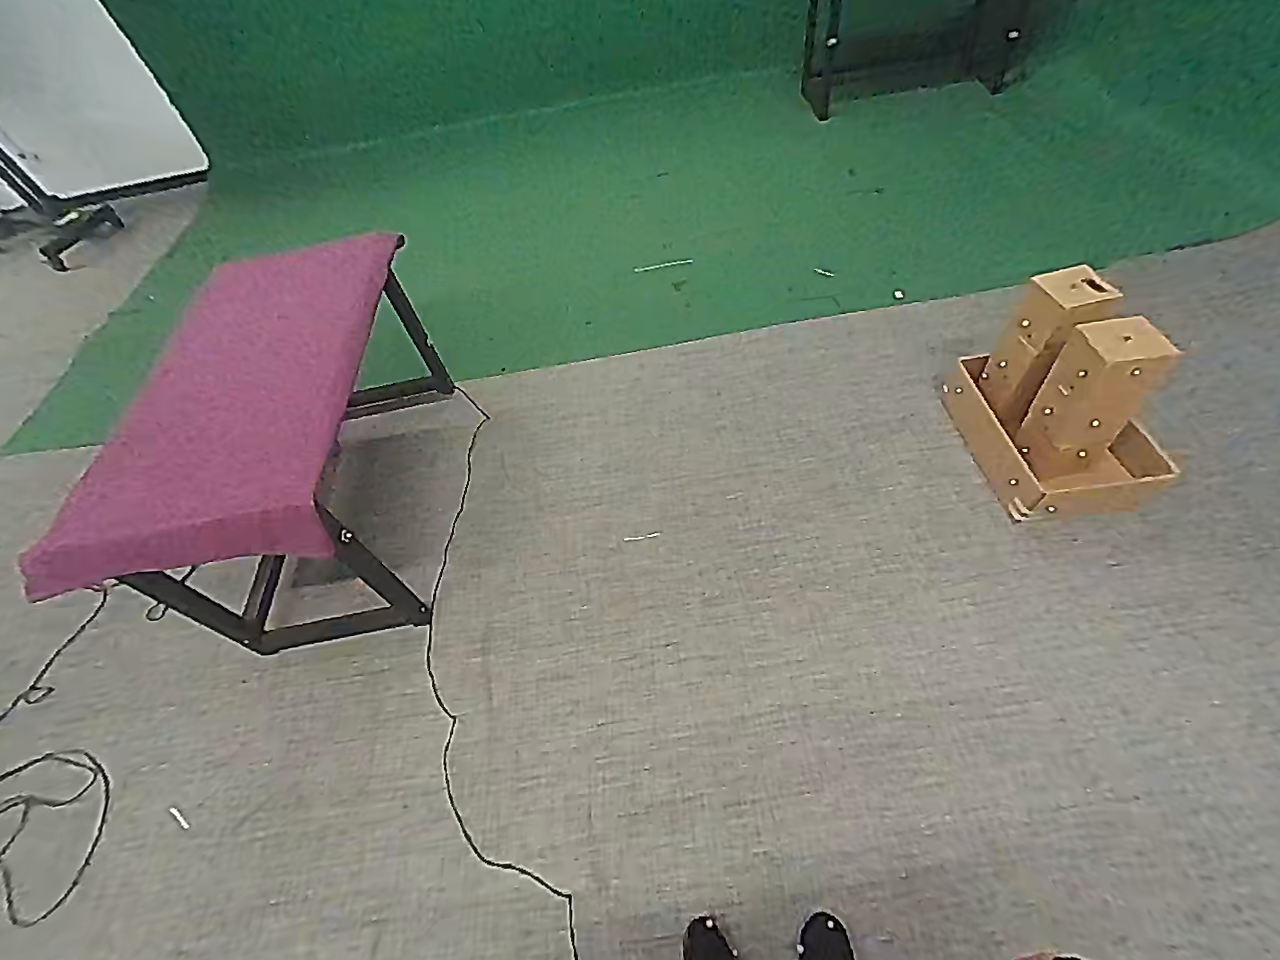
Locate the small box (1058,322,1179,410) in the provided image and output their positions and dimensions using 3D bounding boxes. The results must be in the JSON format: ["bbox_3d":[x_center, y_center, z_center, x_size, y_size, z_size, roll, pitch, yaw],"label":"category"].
[{"bbox_3d":[1.312,-0.312,1.506,0.179,0.176,0.168,-6,51,6],"label":"small box"}]

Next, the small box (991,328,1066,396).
[{"bbox_3d":[1.305,-0.397,1.775,0.179,0.176,0.168,-8,53,3],"label":"small box"}]

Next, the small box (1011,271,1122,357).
[{"bbox_3d":[1.289,-0.503,1.650,0.179,0.176,0.168,-13,53,-1],"label":"small box"}]
